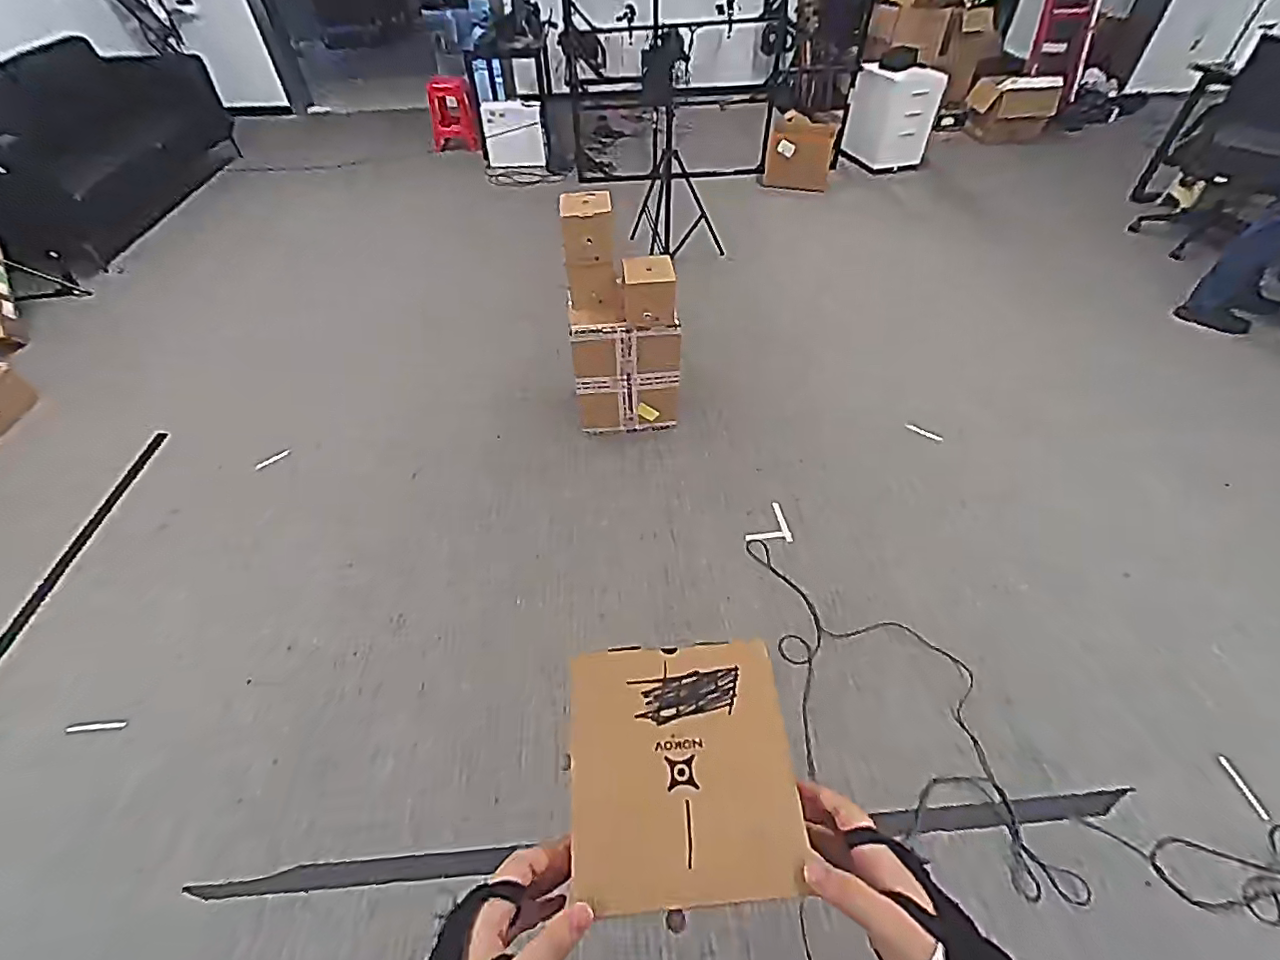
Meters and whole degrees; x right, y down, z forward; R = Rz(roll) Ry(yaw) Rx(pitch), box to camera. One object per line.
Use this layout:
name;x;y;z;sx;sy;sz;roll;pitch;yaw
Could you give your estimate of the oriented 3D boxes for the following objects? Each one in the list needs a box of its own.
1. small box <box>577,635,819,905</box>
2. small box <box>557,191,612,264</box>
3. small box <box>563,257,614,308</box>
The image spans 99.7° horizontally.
small box;0.031;0.255;0.473;0.168;0.176;0.179;-3;53;-4
small box;-0.185;-0.843;1.819;0.168;0.176;0.179;-6;50;-2
small box;-0.185;-0.742;1.949;0.168;0.176;0.179;-7;50;-2
